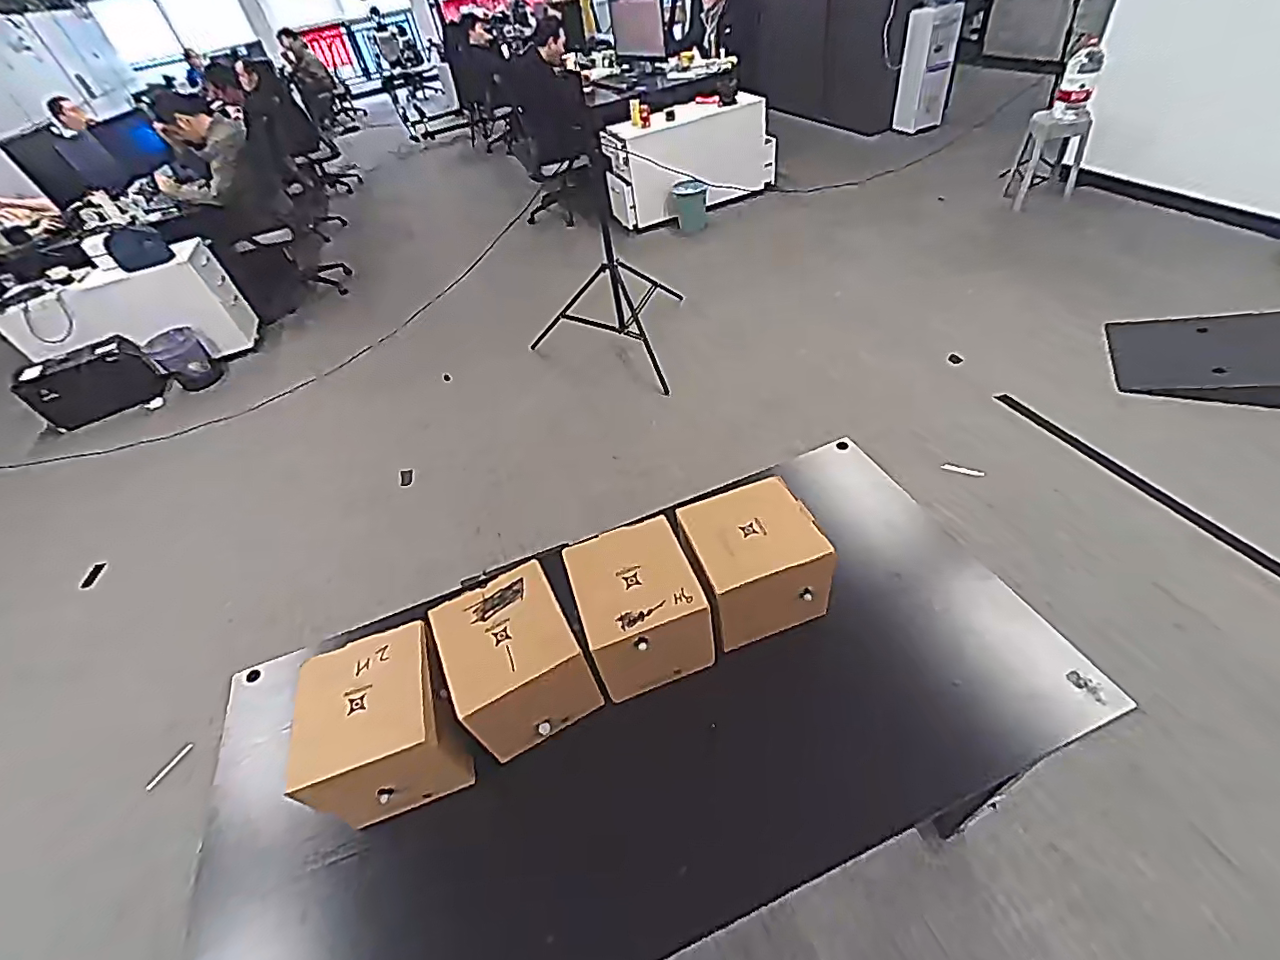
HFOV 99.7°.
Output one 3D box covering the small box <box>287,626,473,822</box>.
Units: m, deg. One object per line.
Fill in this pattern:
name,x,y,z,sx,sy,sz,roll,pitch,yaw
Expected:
small box,-0.340,0.339,0.740,0.168,0.176,0.179,-19,44,-8
